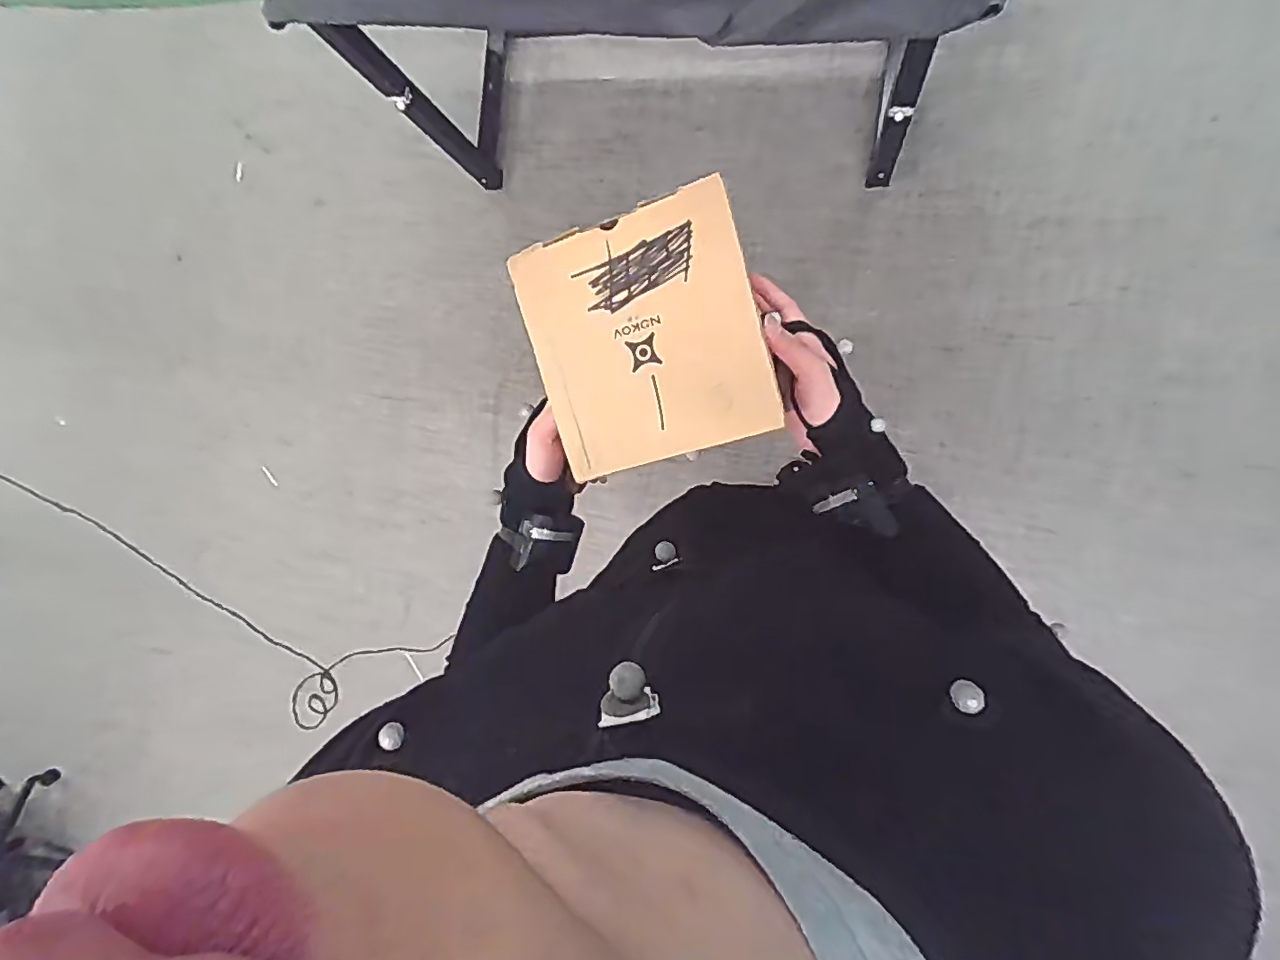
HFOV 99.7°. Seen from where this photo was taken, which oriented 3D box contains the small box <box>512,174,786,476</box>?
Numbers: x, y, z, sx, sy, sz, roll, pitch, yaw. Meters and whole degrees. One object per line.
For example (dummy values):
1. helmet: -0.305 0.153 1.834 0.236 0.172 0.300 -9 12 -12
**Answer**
1. small box: 0.021 -0.116 0.461 0.168 0.176 0.179 -14 97 16
